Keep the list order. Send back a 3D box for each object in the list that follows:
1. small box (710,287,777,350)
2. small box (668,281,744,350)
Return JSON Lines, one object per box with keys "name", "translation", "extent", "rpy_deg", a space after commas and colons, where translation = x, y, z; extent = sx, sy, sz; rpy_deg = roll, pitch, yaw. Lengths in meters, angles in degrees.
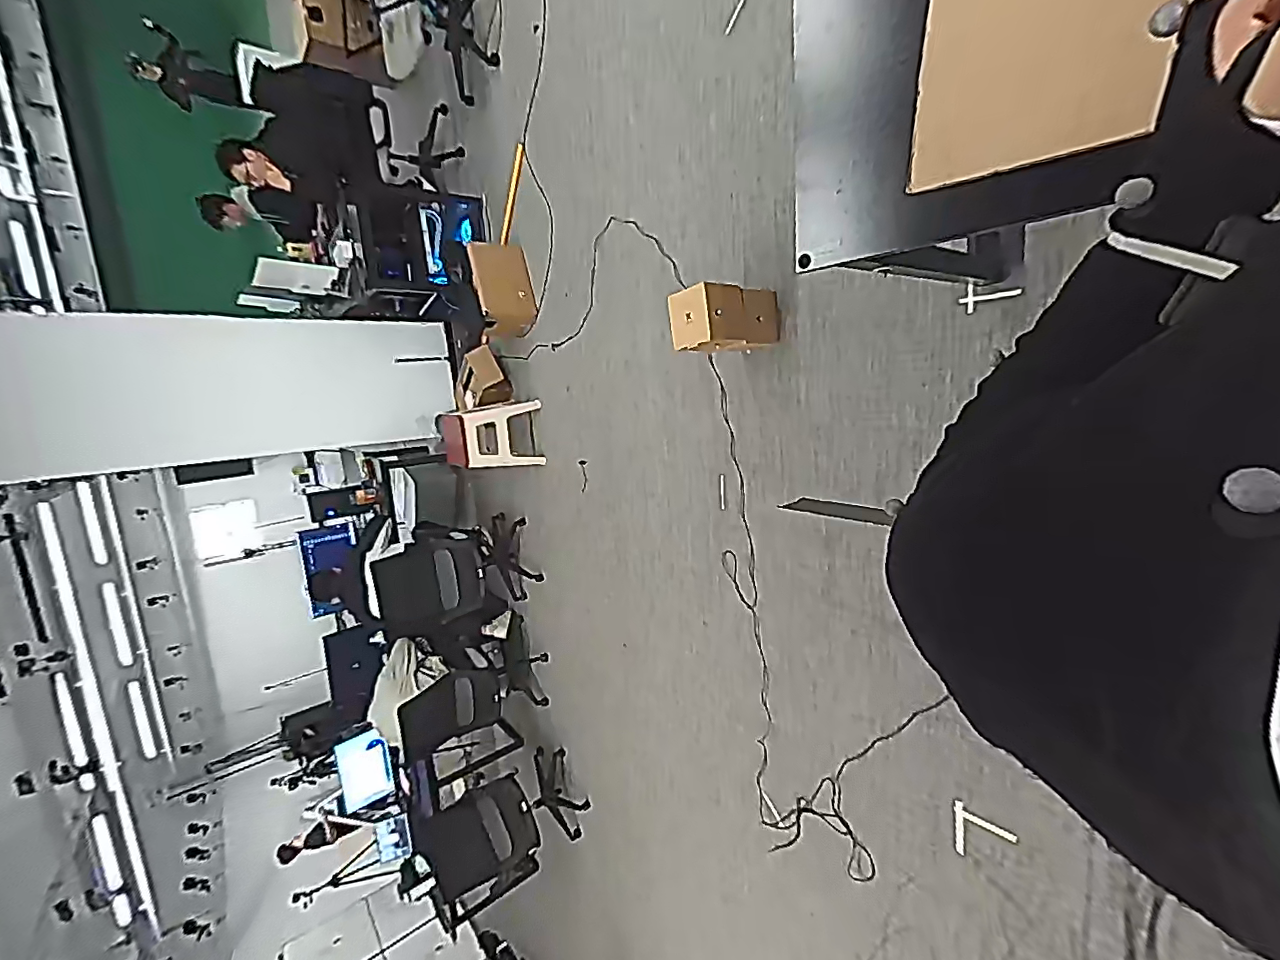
{"name": "small box", "translation": [0.341, -0.536, 1.810], "extent": [0.168, 0.176, 0.179], "rpy_deg": [3, 102, 52]}
{"name": "small box", "translation": [0.214, -0.516, 1.712], "extent": [0.168, 0.176, 0.179], "rpy_deg": [-2, 96, 51]}
